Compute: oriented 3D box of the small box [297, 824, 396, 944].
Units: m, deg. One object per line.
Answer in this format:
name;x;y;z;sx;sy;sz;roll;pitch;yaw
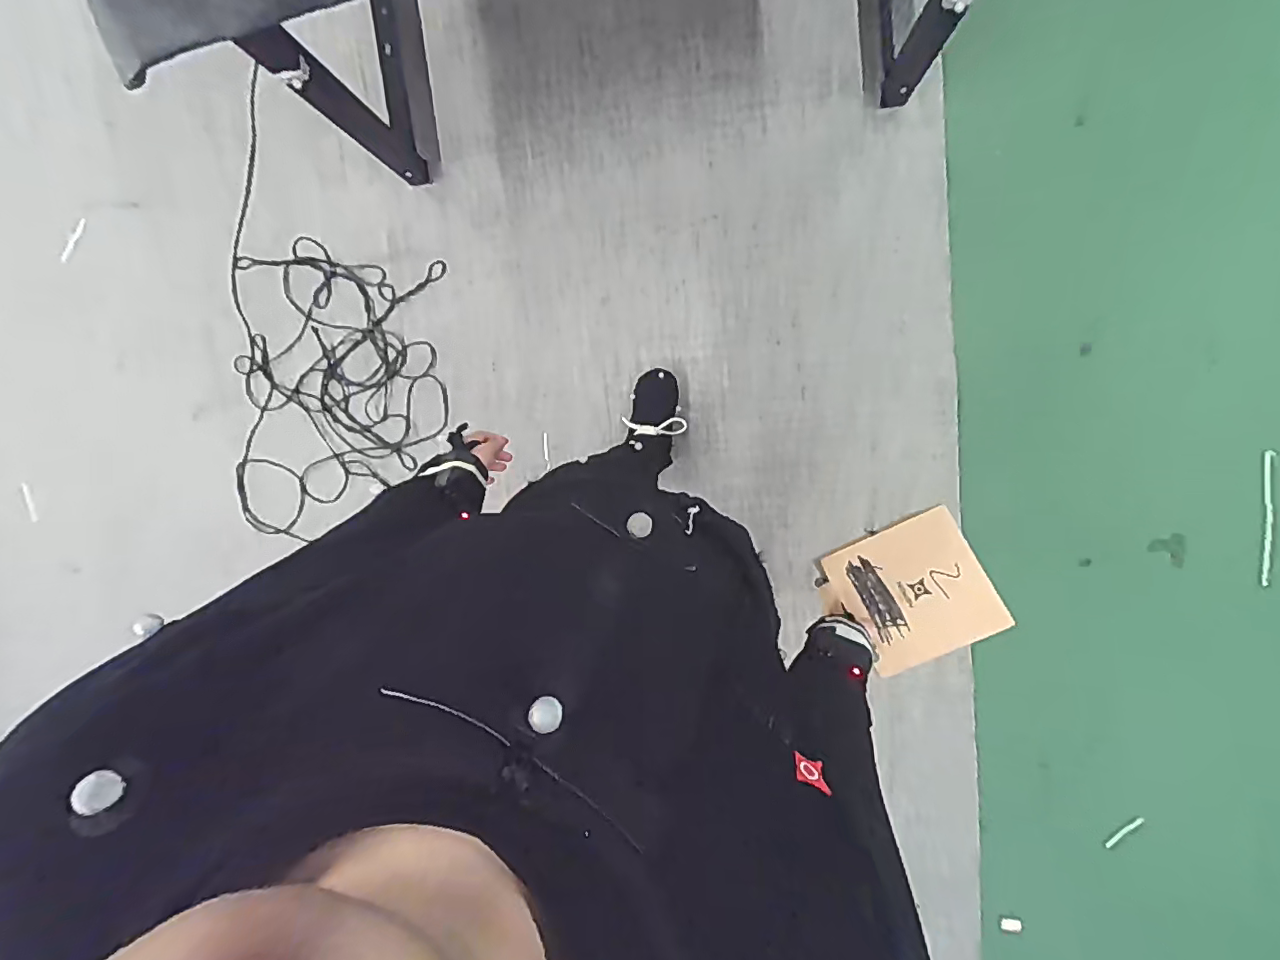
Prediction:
small box;-0.800;1.104;1.488;0.168;0.176;0.179;15;97;4
